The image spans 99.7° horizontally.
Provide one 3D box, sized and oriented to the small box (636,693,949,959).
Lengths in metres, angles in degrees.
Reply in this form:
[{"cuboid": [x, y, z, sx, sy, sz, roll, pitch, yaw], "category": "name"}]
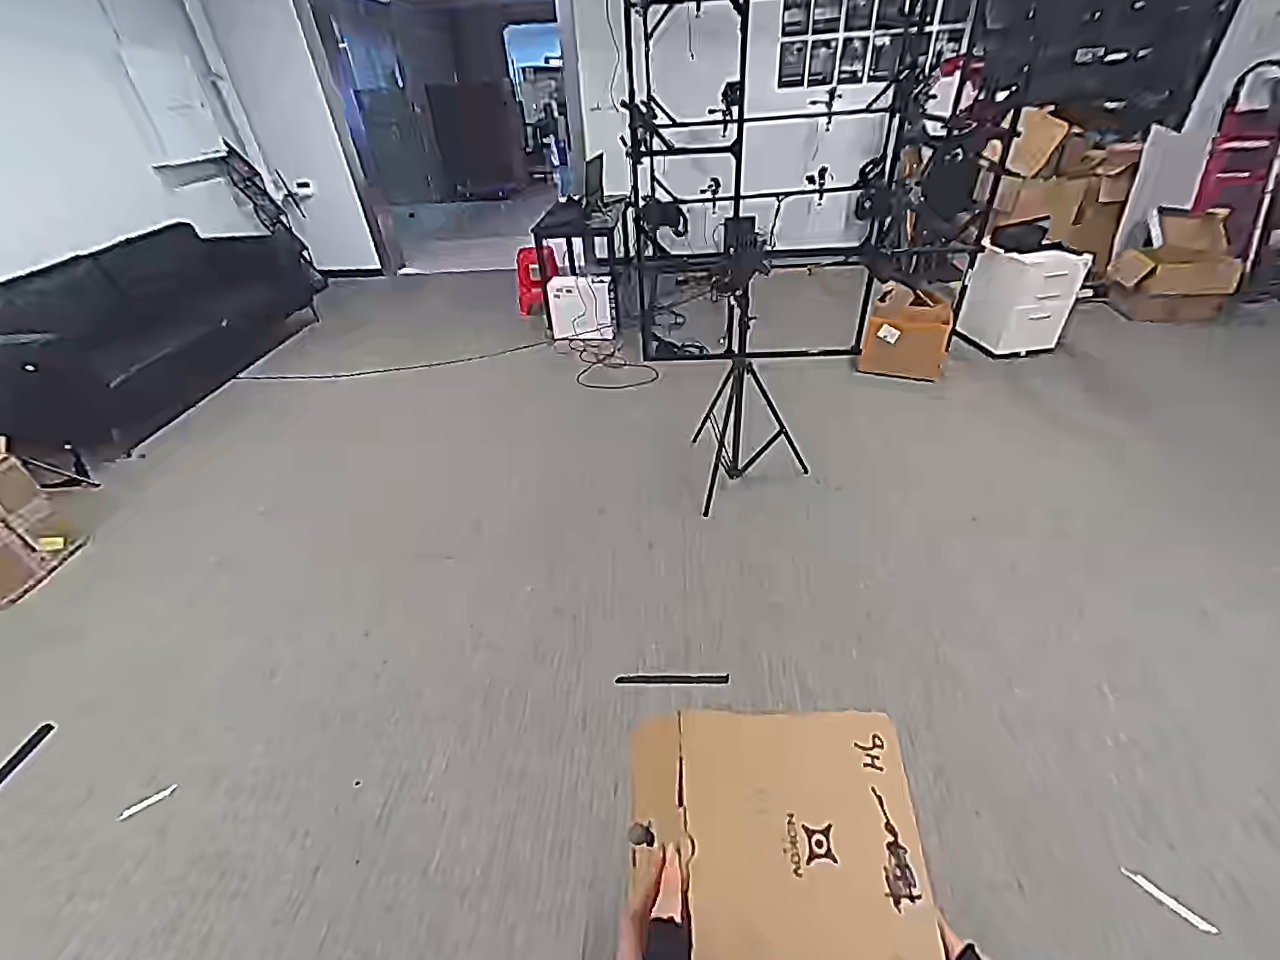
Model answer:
[{"cuboid": [0.094, 0.272, 0.429, 0.179, 0.176, 0.168, 6, 60, -10], "category": "small box"}]
